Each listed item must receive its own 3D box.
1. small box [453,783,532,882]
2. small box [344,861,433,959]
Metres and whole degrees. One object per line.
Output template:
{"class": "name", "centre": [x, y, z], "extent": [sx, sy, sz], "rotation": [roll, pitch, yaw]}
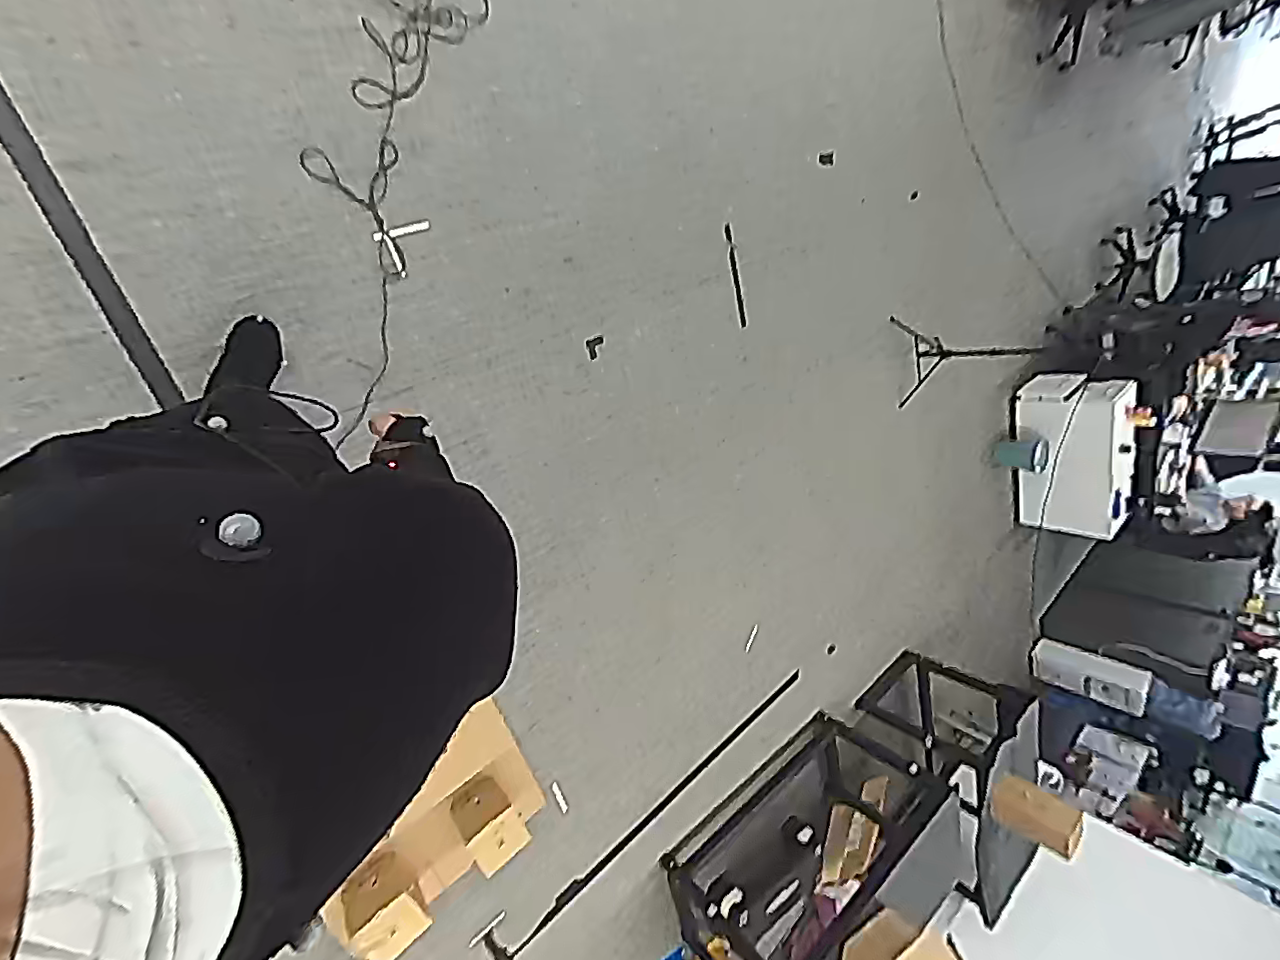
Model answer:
{"class": "small box", "centre": [-0.483, 1.140, 1.764], "extent": [0.168, 0.176, 0.179], "rotation": [-31, 115, -29]}
{"class": "small box", "centre": [-0.748, 1.291, 1.604], "extent": [0.168, 0.176, 0.179], "rotation": [-34, 116, -27]}
